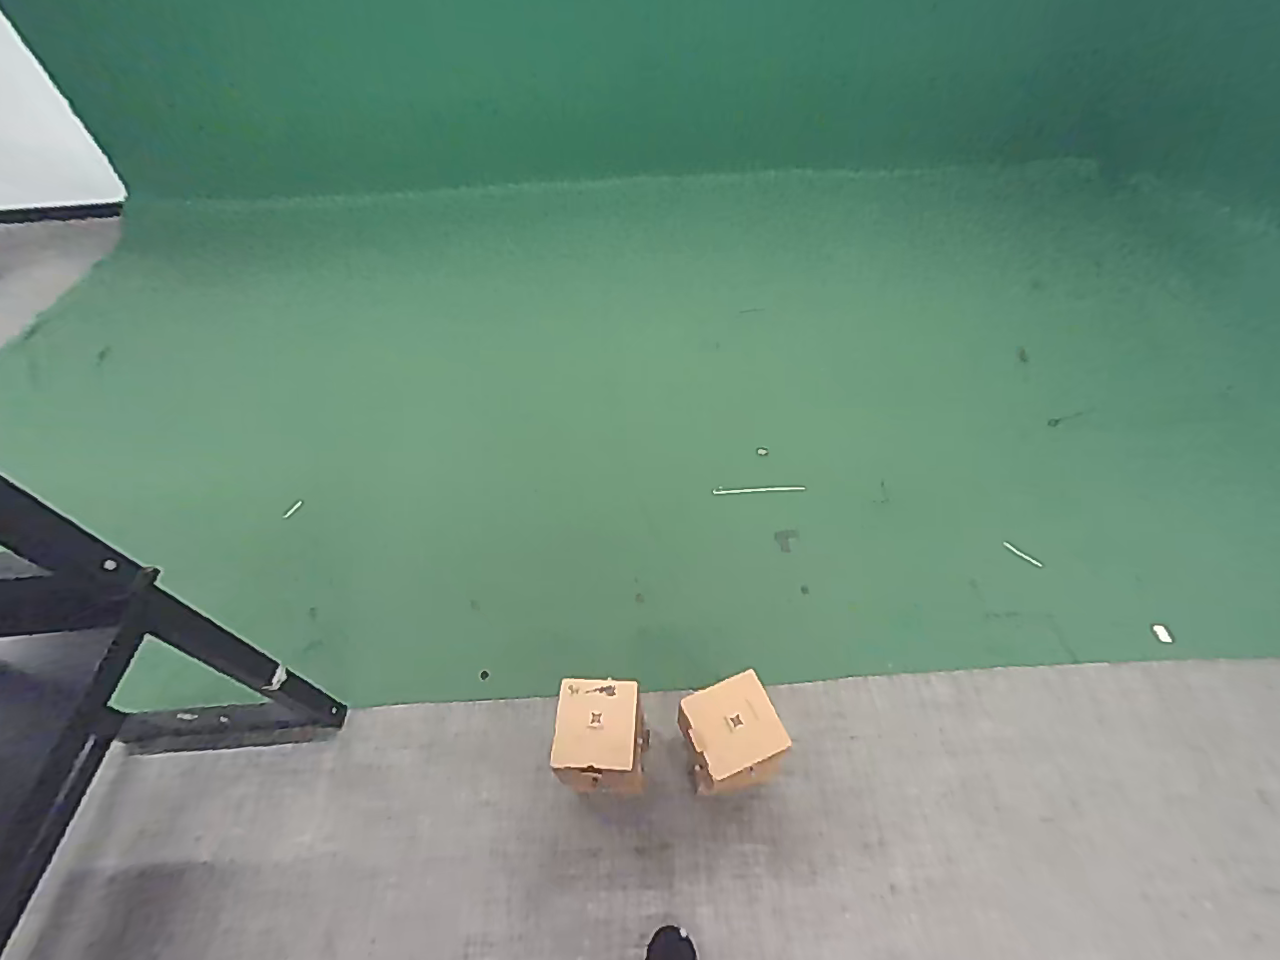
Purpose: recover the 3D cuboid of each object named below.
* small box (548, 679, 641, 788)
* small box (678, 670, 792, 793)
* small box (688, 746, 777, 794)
[{"bbox_3d":[-0.087,0.542,1.148,0.168,0.176,0.179,1,52,5],"label":"small box"},{"bbox_3d":[0.191,0.535,1.143,0.179,0.176,0.168,-19,55,-13],"label":"small box"},{"bbox_3d":[0.205,0.626,1.276,0.179,0.176,0.168,-8,52,-5],"label":"small box"}]
